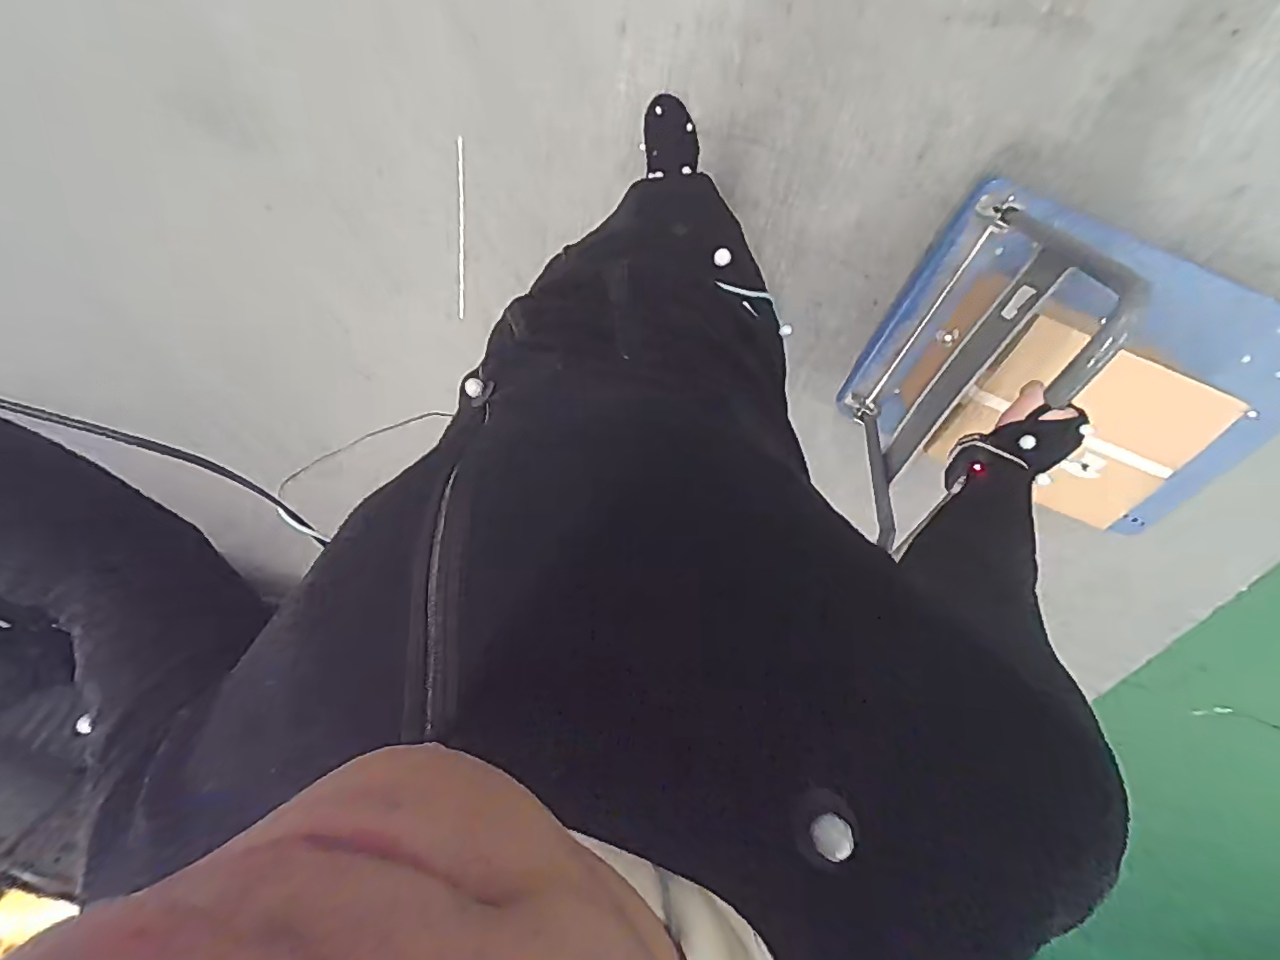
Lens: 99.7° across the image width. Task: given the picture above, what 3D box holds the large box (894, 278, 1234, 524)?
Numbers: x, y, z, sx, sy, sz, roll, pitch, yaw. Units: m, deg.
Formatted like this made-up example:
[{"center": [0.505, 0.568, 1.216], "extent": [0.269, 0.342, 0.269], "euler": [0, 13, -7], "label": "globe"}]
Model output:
[{"center": [0.824, -0.176, 1.135], "extent": [0.408, 0.320, 0.320], "euler": [22, 127, -2], "label": "large box"}]
